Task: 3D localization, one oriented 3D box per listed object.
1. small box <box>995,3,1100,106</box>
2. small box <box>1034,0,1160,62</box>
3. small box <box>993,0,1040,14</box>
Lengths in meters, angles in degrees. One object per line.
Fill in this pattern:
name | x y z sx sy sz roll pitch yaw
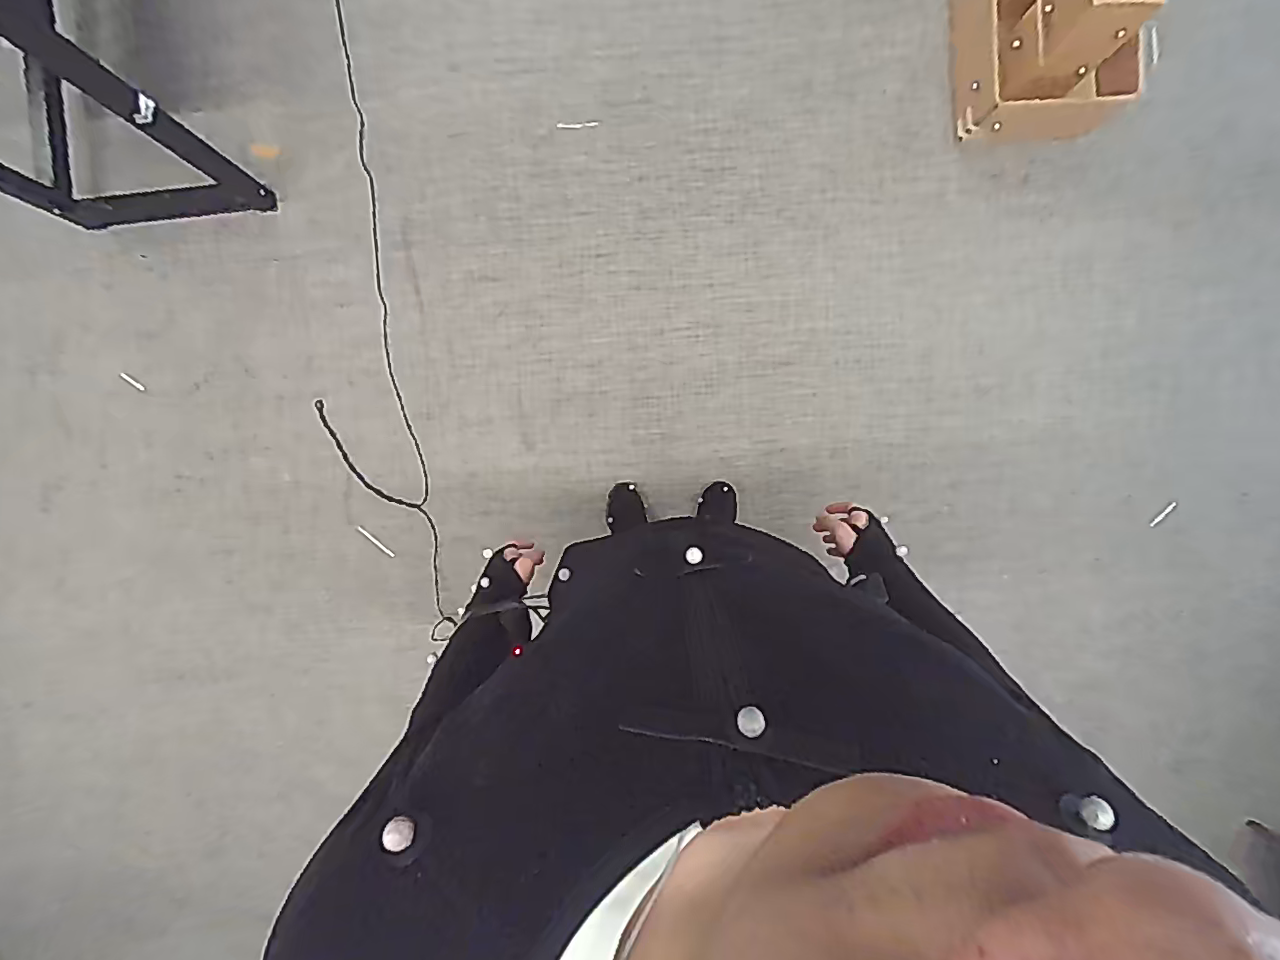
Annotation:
small box | 1.117 -1.175 1.499 0.179 0.176 0.168 -3 91 0
small box | 1.122 -1.176 1.335 0.179 0.176 0.168 -1 89 0
small box | 1.106 -1.436 1.492 0.179 0.176 0.168 -3 92 0
